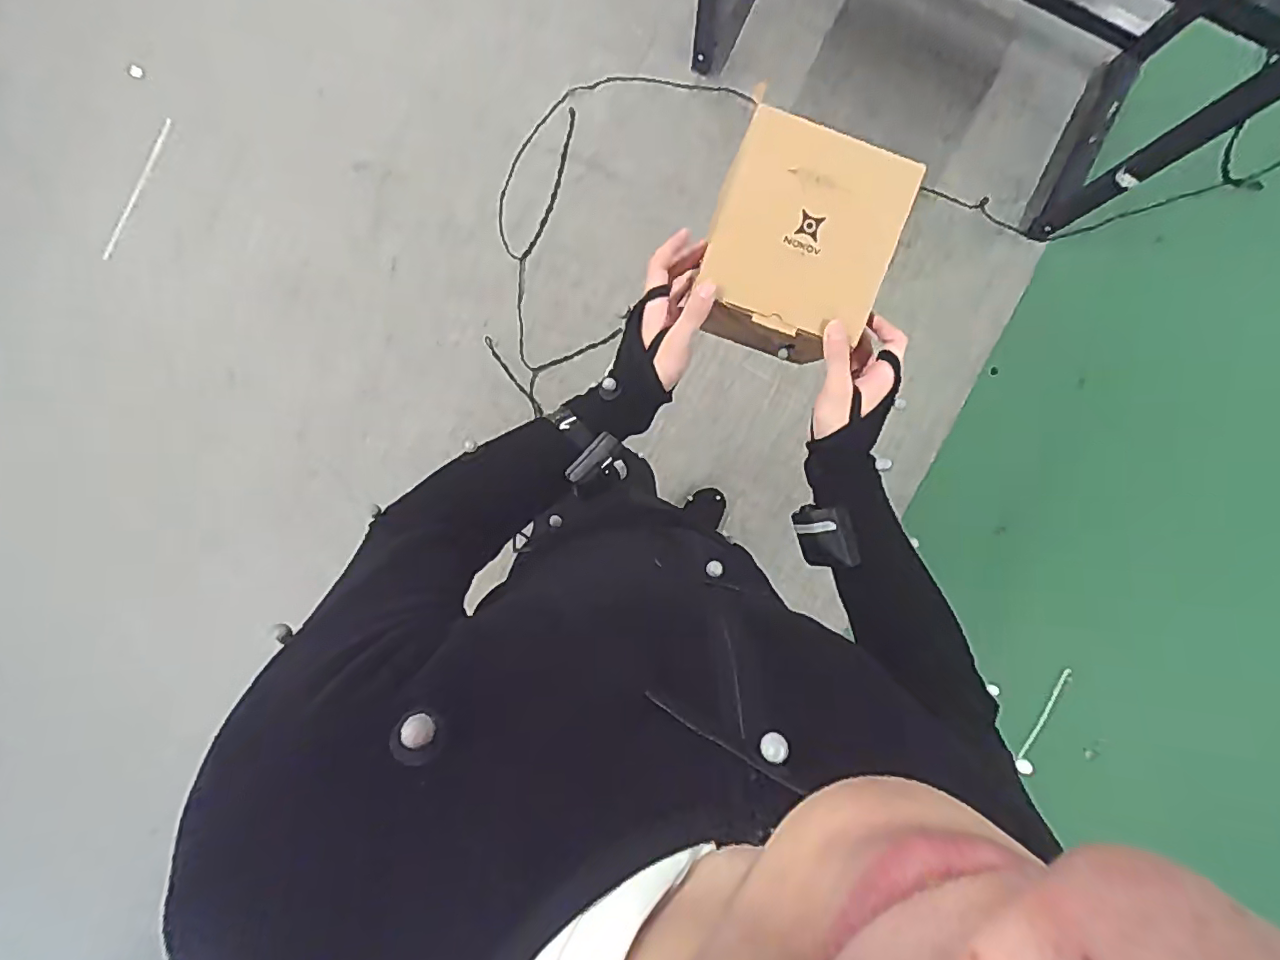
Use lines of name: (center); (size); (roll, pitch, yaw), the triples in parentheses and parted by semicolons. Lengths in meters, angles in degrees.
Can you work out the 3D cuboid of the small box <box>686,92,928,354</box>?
small box: (0.153, -0.243, 0.565); (0.168, 0.176, 0.179); (18, 96, -3)
